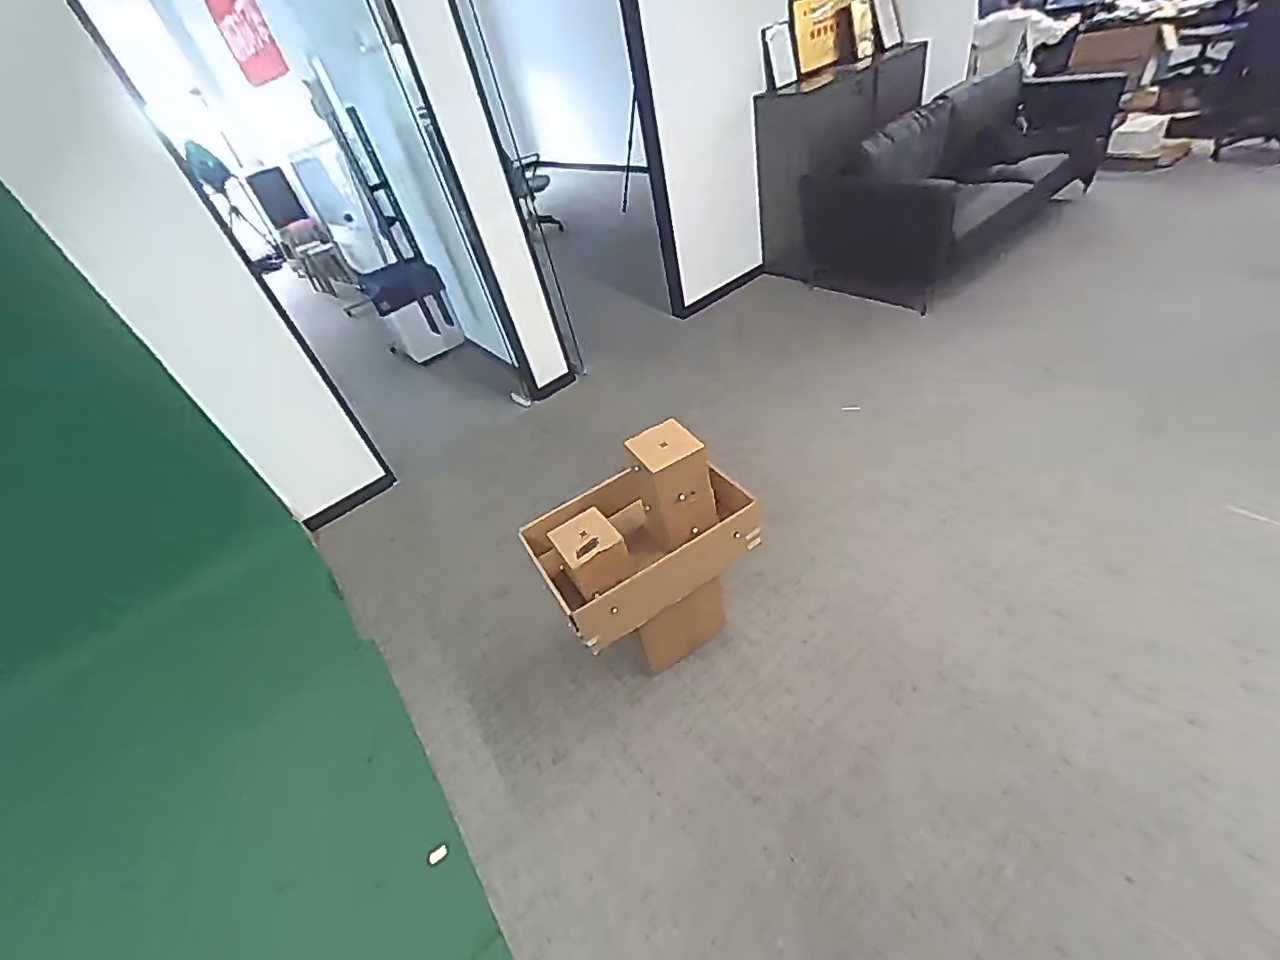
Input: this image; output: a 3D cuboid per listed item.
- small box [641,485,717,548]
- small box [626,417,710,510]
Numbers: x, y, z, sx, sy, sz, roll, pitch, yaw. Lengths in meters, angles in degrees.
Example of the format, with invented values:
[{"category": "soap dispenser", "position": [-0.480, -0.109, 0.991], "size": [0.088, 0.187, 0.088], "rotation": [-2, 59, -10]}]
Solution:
[{"category": "small box", "position": [0.116, 0.072, 1.639], "size": [0.168, 0.176, 0.179], "rotation": [-26, 42, -13]}, {"category": "small box", "position": [0.081, -0.045, 1.531], "size": [0.168, 0.176, 0.179], "rotation": [-27, 42, -14]}]
